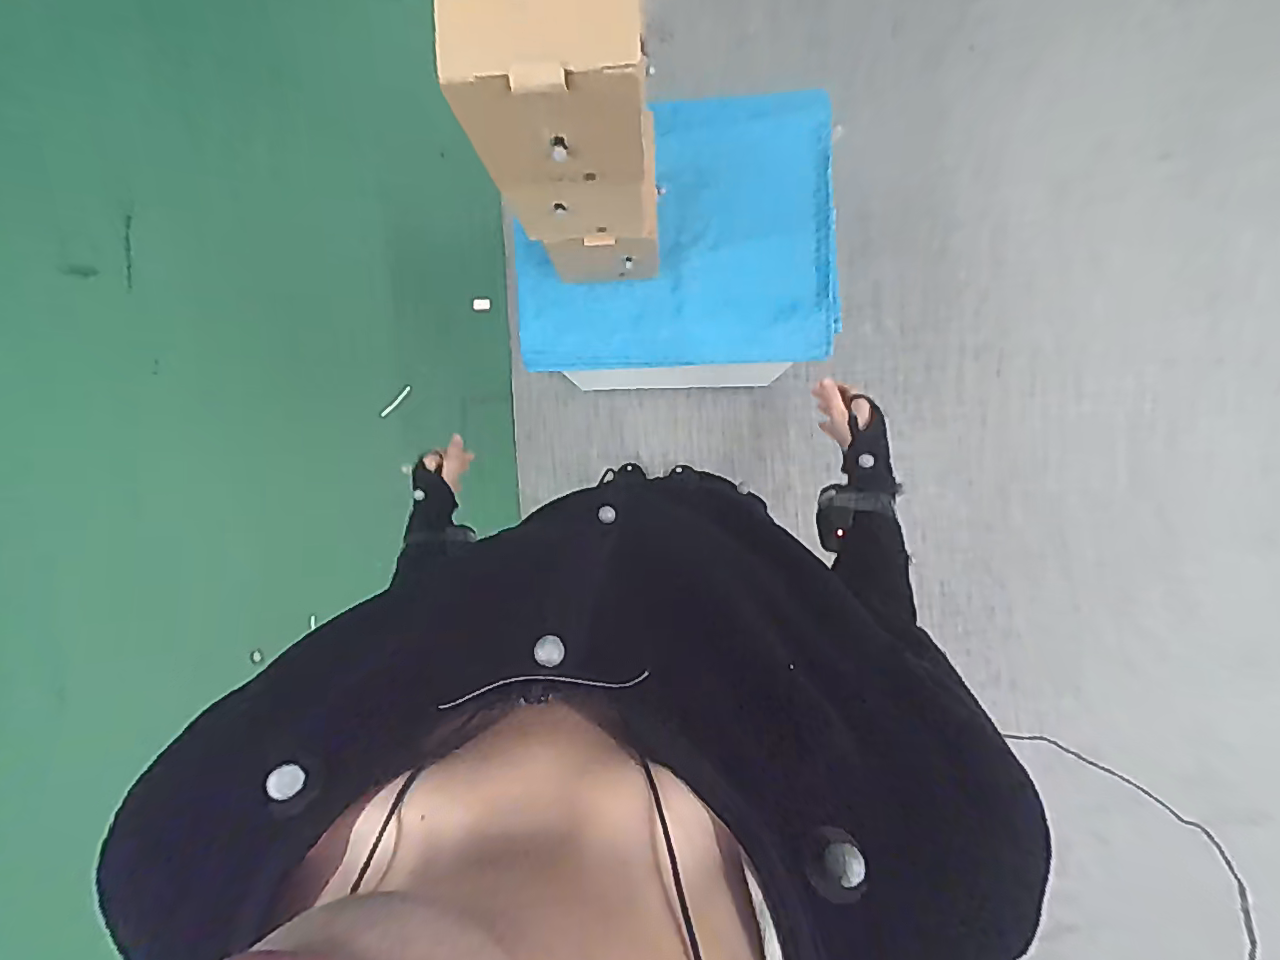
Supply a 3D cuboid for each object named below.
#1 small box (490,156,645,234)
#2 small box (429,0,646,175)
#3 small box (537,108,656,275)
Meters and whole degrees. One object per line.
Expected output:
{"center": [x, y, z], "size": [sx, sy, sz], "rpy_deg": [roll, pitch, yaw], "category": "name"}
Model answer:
{"center": [-0.078, -0.420, 0.664], "size": [0.168, 0.176, 0.179], "rpy_deg": [0, 90, 2], "category": "small box"}
{"center": [-0.080, -0.407, 0.500], "size": [0.168, 0.176, 0.179], "rpy_deg": [0, 91, 2], "category": "small box"}
{"center": [-0.059, -0.423, 0.825], "size": [0.168, 0.176, 0.179], "rpy_deg": [-1, 90, 2], "category": "small box"}
